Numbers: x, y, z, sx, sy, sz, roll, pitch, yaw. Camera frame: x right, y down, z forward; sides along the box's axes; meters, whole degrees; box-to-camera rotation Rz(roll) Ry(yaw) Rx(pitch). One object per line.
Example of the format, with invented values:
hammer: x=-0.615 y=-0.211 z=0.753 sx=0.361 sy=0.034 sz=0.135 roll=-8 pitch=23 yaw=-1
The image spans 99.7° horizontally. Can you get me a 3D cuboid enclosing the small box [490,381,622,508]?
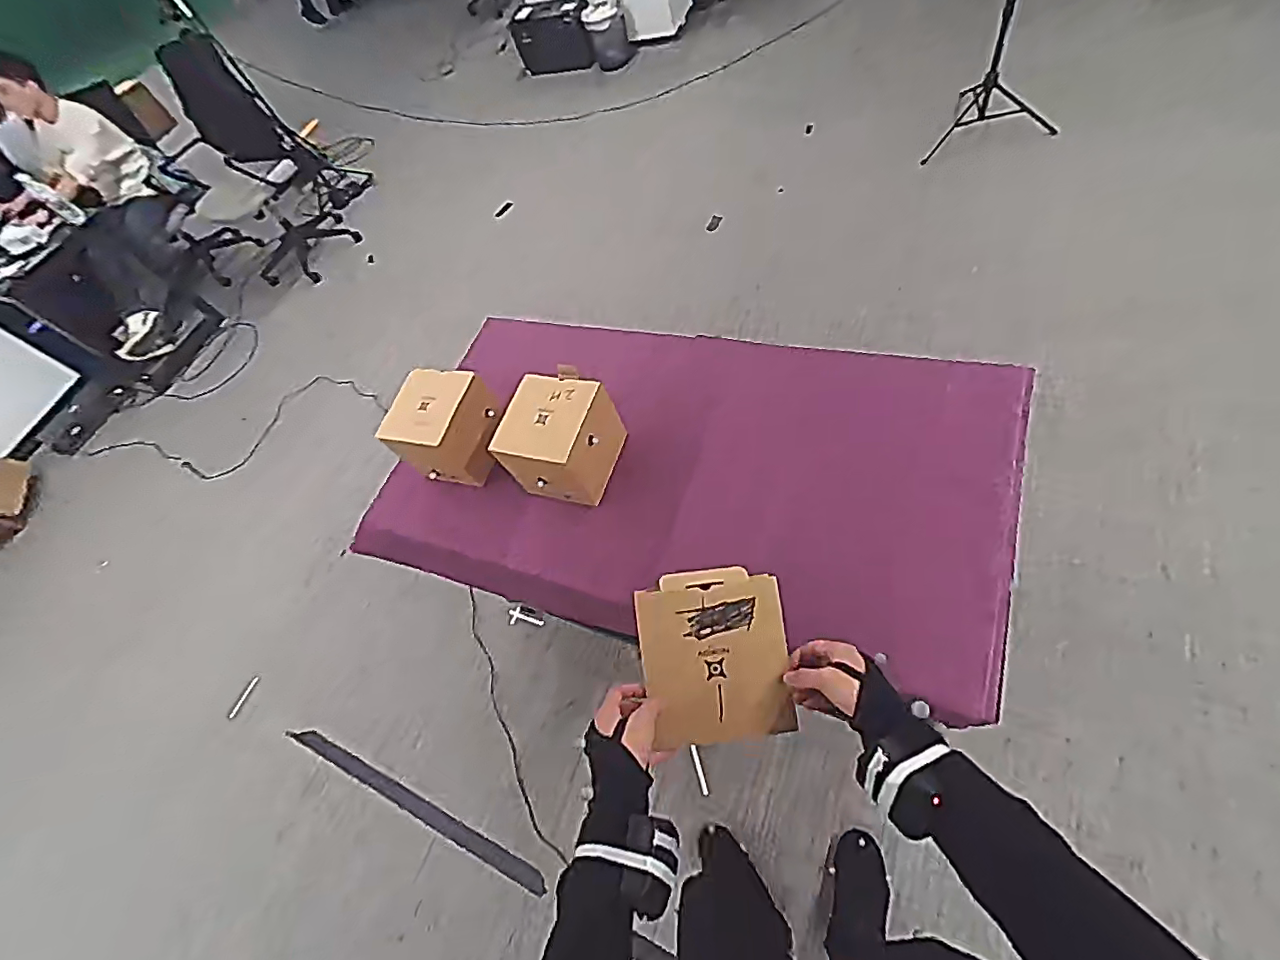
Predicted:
small box: x=-0.151 y=-0.065 z=1.042 sx=0.168 sy=0.176 sz=0.179 roll=11 pitch=64 yaw=22

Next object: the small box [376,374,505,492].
small box: x=-0.404 y=-0.098 z=1.143 sx=0.168 sy=0.176 sz=0.179 roll=8 pitch=63 yaw=22

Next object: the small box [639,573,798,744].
small box: x=0.088 y=0.225 z=0.703 sx=0.168 sy=0.176 sz=0.179 roll=-7 pitch=75 yaw=-1
